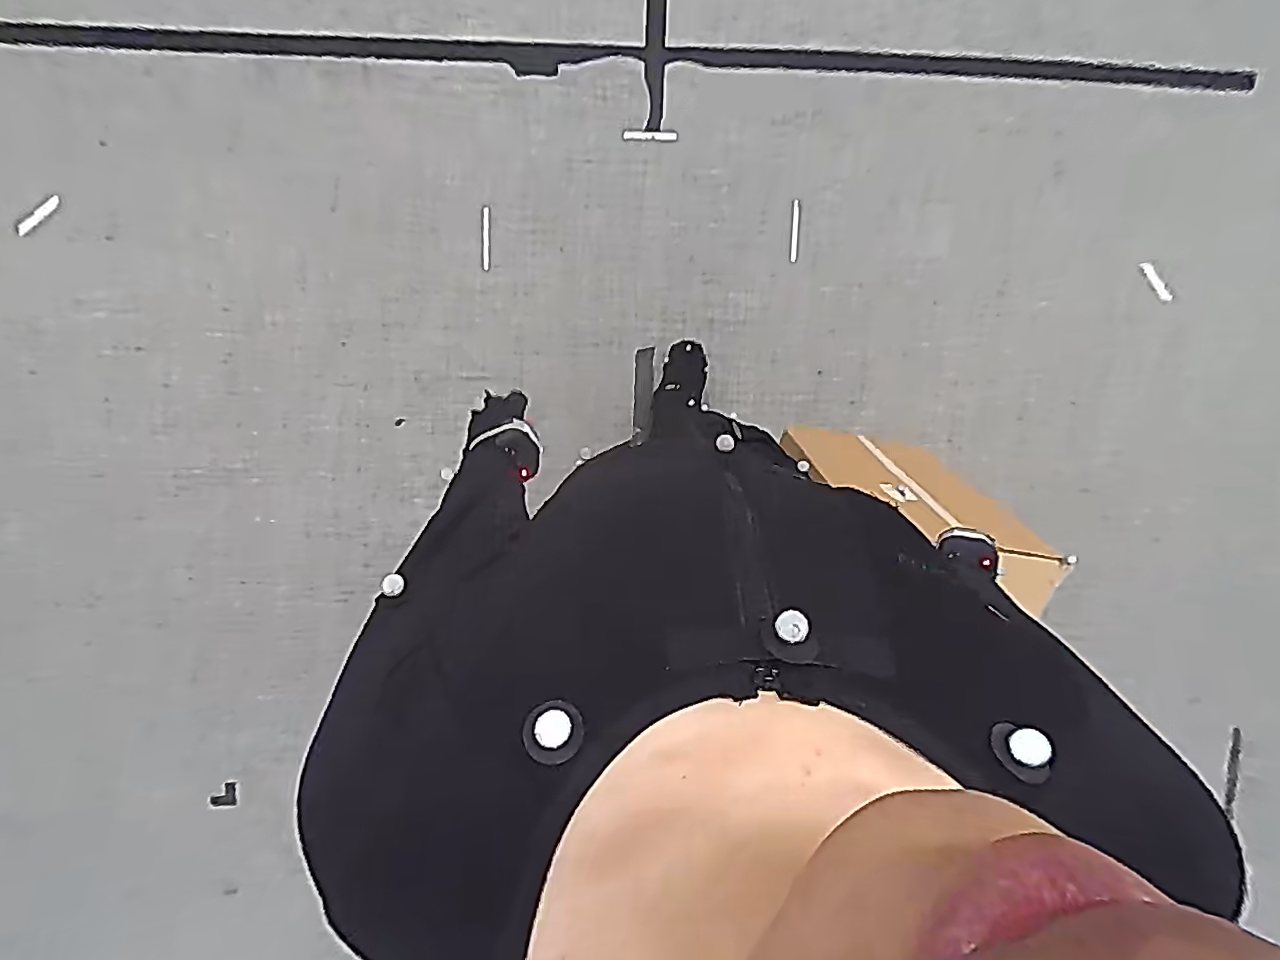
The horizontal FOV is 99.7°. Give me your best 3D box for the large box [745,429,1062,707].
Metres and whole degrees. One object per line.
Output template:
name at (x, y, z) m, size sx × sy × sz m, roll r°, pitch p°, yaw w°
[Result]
large box at (0.421, 0.142, 1.000) m, size 0.320 × 0.408 × 0.320 m, roll 8°, pitch 117°, yaw -7°
